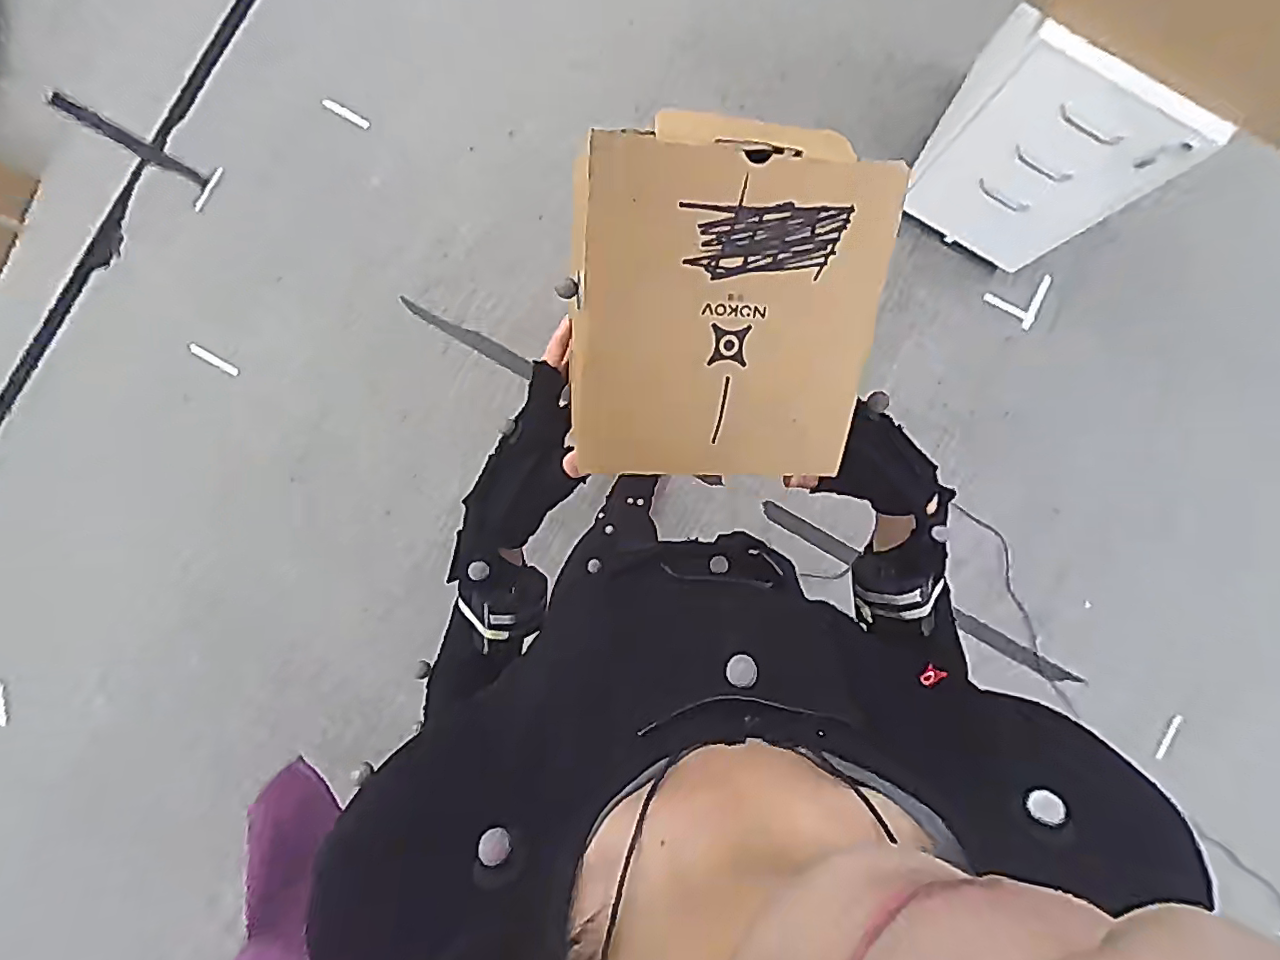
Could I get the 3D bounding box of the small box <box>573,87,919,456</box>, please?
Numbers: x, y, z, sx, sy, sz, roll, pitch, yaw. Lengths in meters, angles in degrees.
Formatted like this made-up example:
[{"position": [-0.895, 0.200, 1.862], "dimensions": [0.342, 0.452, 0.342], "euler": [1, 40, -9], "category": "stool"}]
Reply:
[{"position": [0.043, -0.127, 0.363], "dimensions": [0.168, 0.176, 0.179], "euler": [1, 113, -10], "category": "small box"}]
